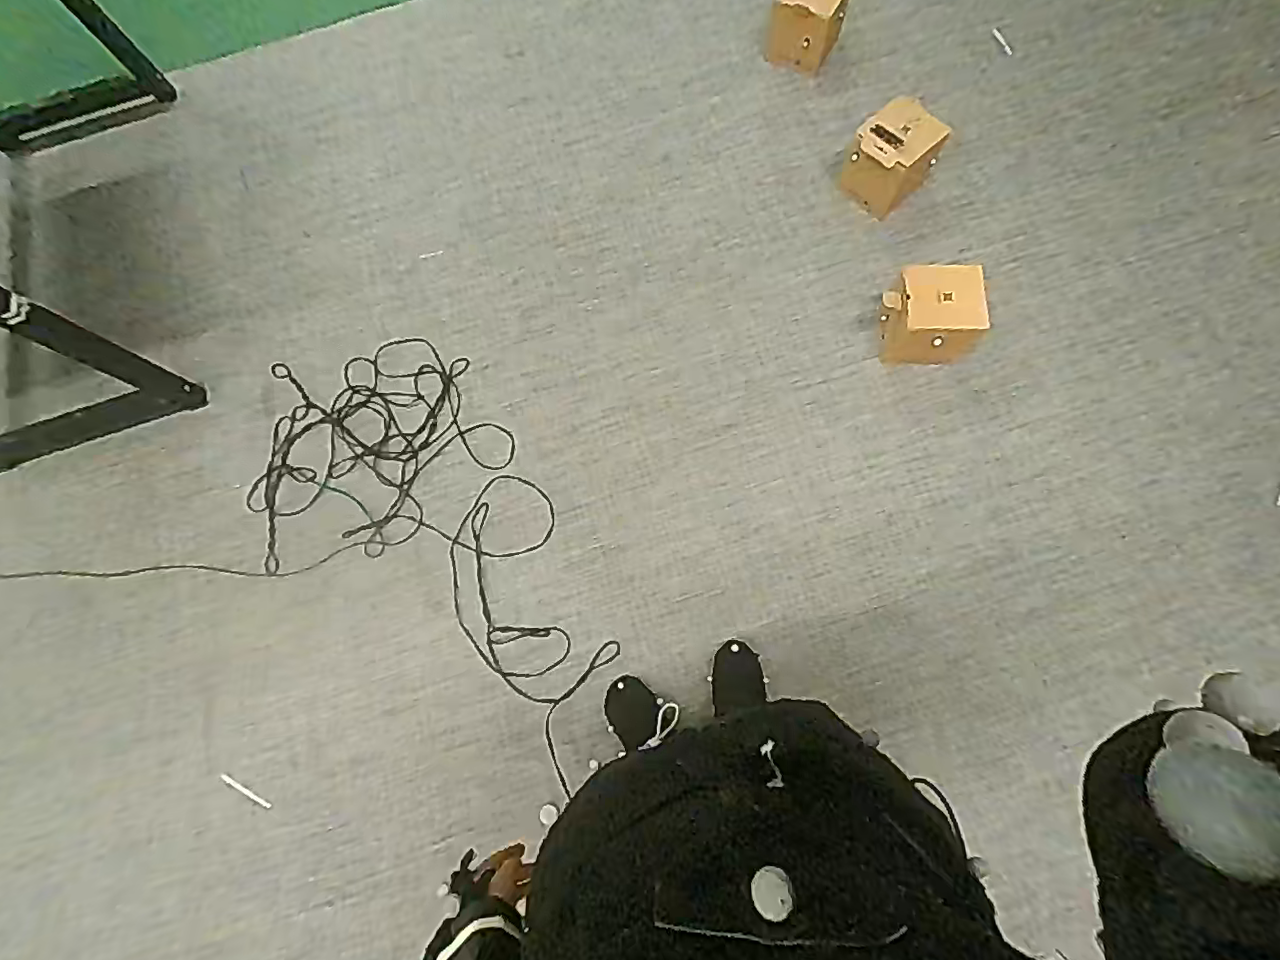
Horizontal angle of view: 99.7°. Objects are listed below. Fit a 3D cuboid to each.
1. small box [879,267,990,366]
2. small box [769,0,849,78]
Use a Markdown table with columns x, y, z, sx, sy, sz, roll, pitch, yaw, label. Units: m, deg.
| x | y | z | sx | sy | sz | roll | pitch | yaw | label |
| --- | --- | --- | --- | --- | --- | --- | --- | --- | --- |
| 0.691 | -0.384 | 1.287 | 0.179 | 0.176 | 0.168 | 1 | 75 | 5 | small box |
| 0.486 | -1.313 | 1.555 | 0.168 | 0.176 | 0.179 | 28 | 77 | 10 | small box |
